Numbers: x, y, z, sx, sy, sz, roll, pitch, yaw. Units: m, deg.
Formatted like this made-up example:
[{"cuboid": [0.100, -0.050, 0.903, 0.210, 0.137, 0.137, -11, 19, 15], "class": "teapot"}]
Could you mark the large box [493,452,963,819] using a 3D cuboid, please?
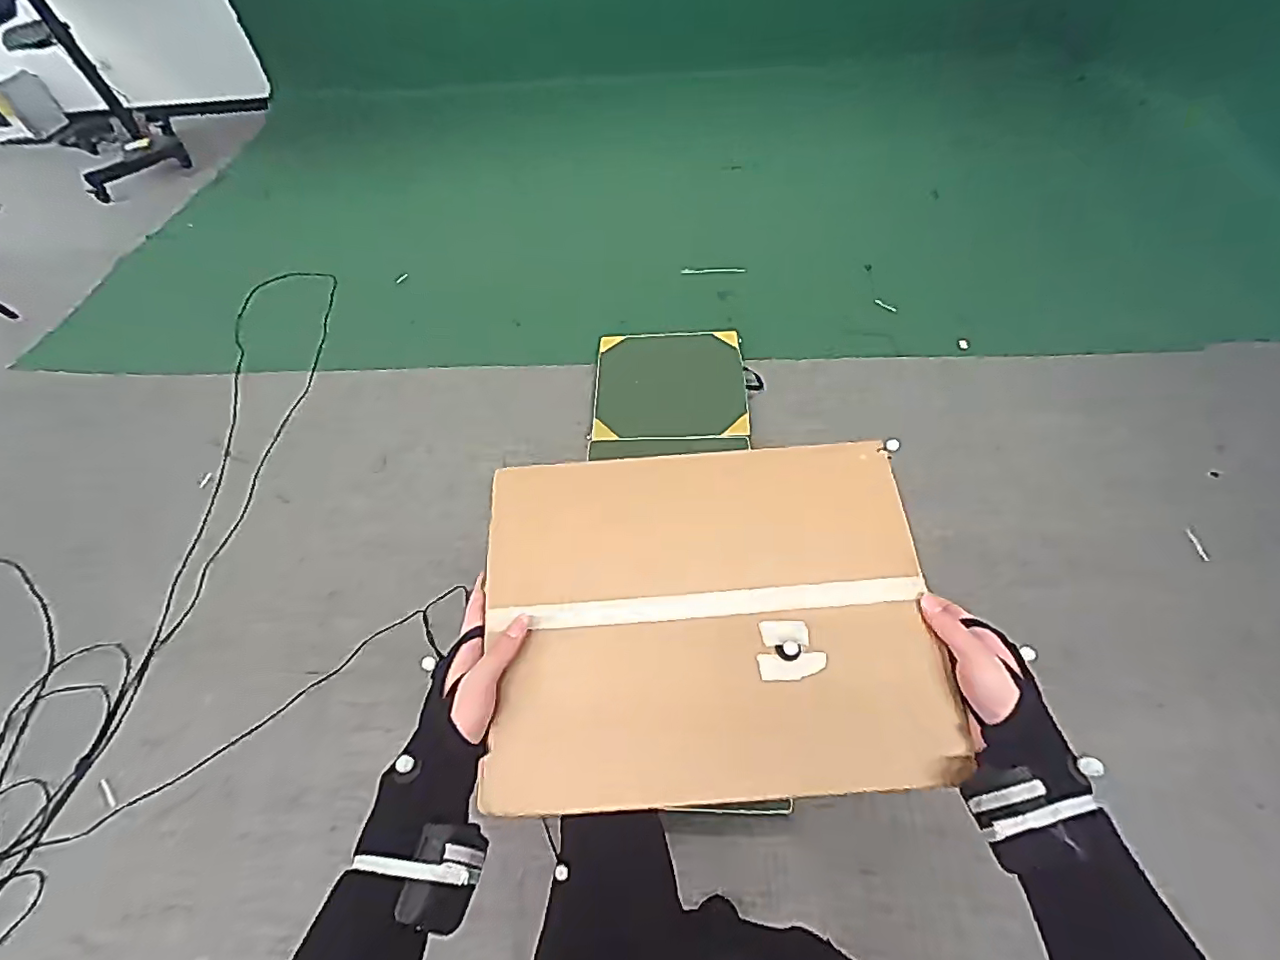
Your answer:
[{"cuboid": [0.064, 0.188, 0.644, 0.408, 0.320, 0.320, -4, 65, -1], "class": "large box"}]
